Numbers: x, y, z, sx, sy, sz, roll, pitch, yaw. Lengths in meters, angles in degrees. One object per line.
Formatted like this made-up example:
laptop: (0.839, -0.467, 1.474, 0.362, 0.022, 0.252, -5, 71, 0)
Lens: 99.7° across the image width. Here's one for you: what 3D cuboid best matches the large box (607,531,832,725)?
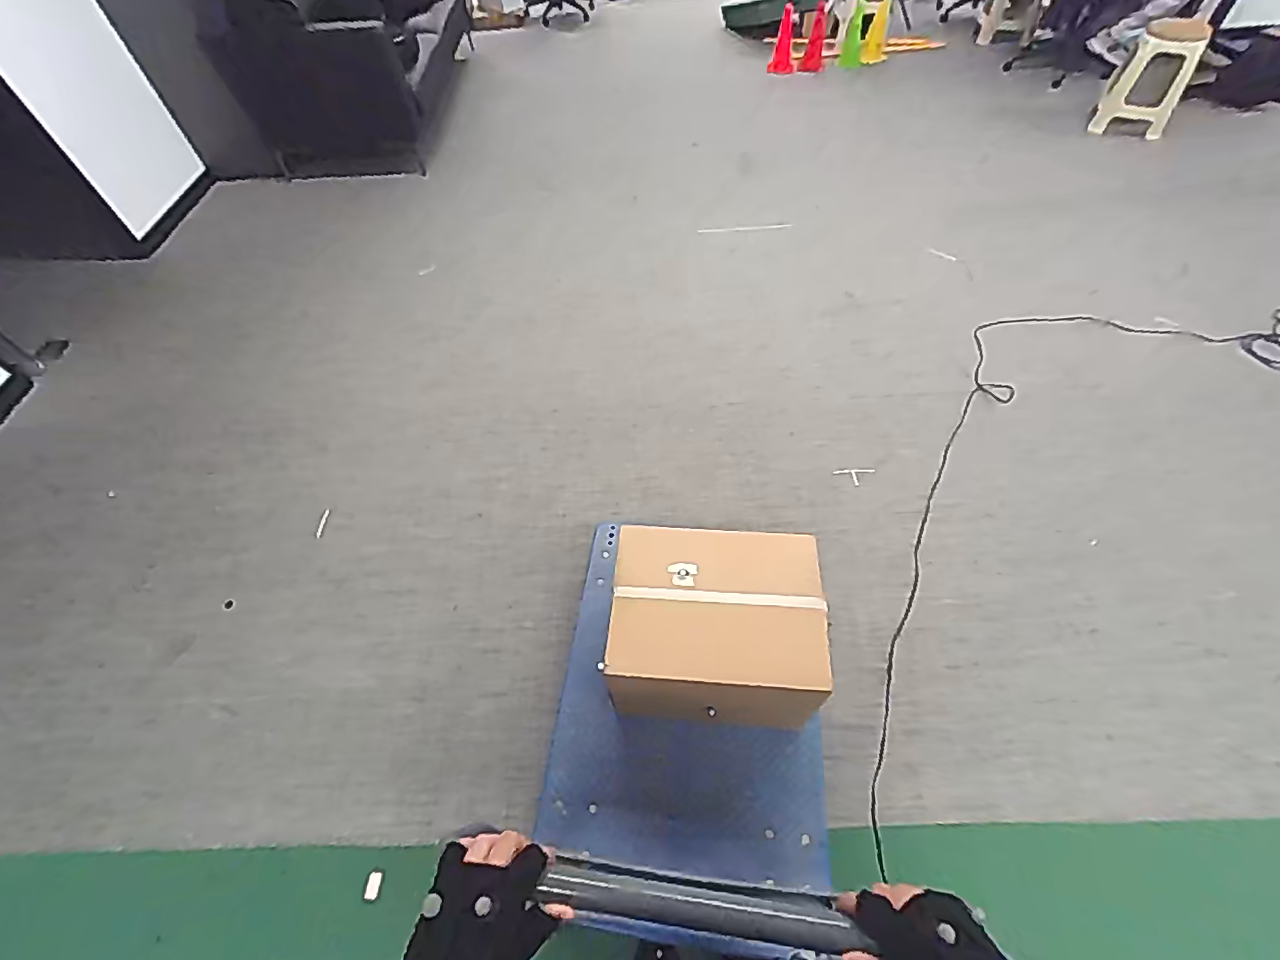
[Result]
large box: (0.158, 0.324, 1.162, 0.408, 0.320, 0.320, 2, 53, 6)
